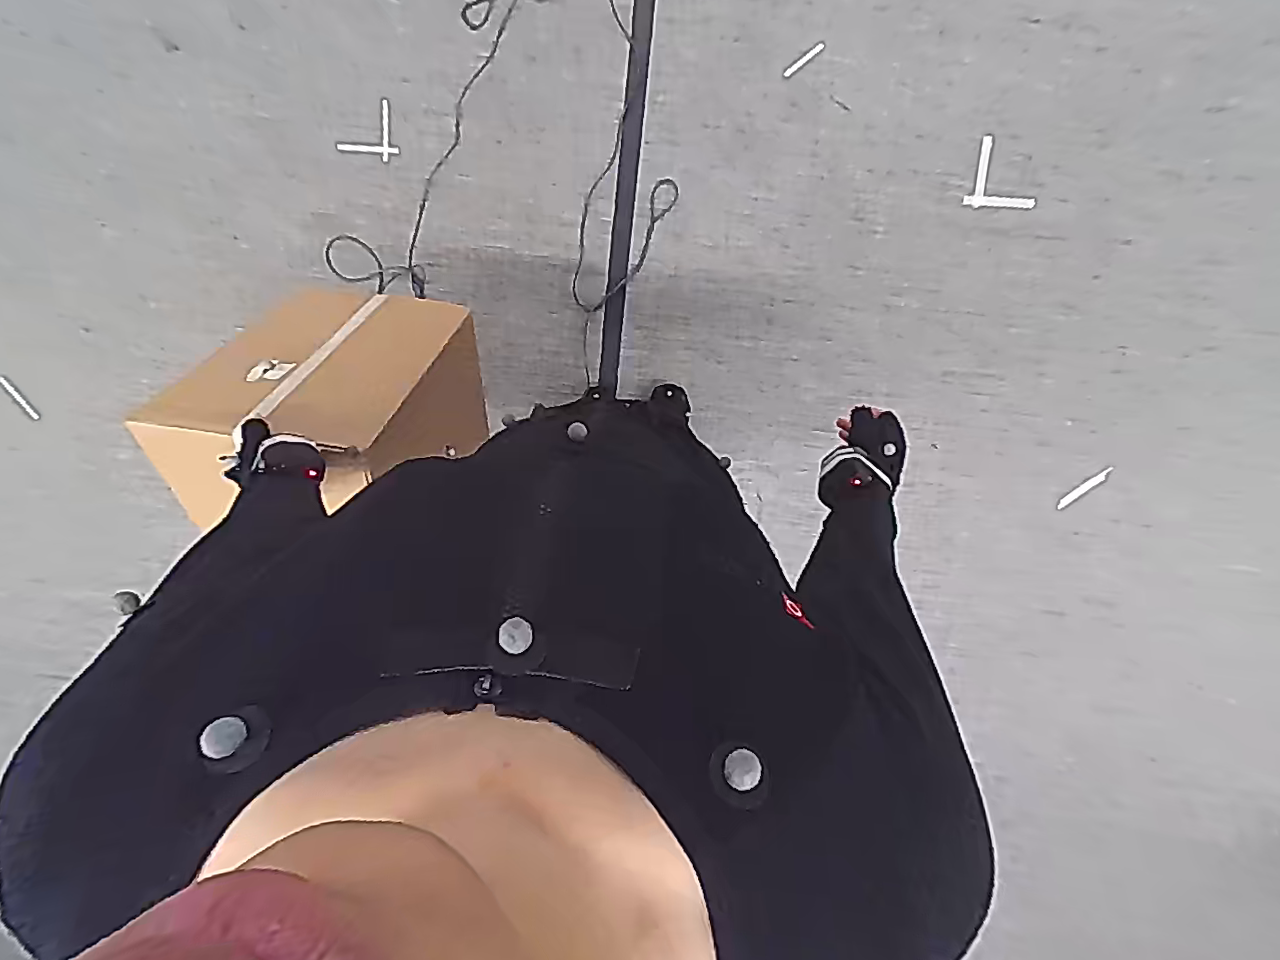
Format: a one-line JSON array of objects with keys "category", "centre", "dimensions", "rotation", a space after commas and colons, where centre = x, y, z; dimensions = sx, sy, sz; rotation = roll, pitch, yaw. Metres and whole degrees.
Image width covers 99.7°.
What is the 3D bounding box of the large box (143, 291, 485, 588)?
[{"category": "large box", "centre": [-0.490, -0.080, 0.942], "dimensions": [0.320, 0.408, 0.320], "rotation": [7, 134, 2]}]
